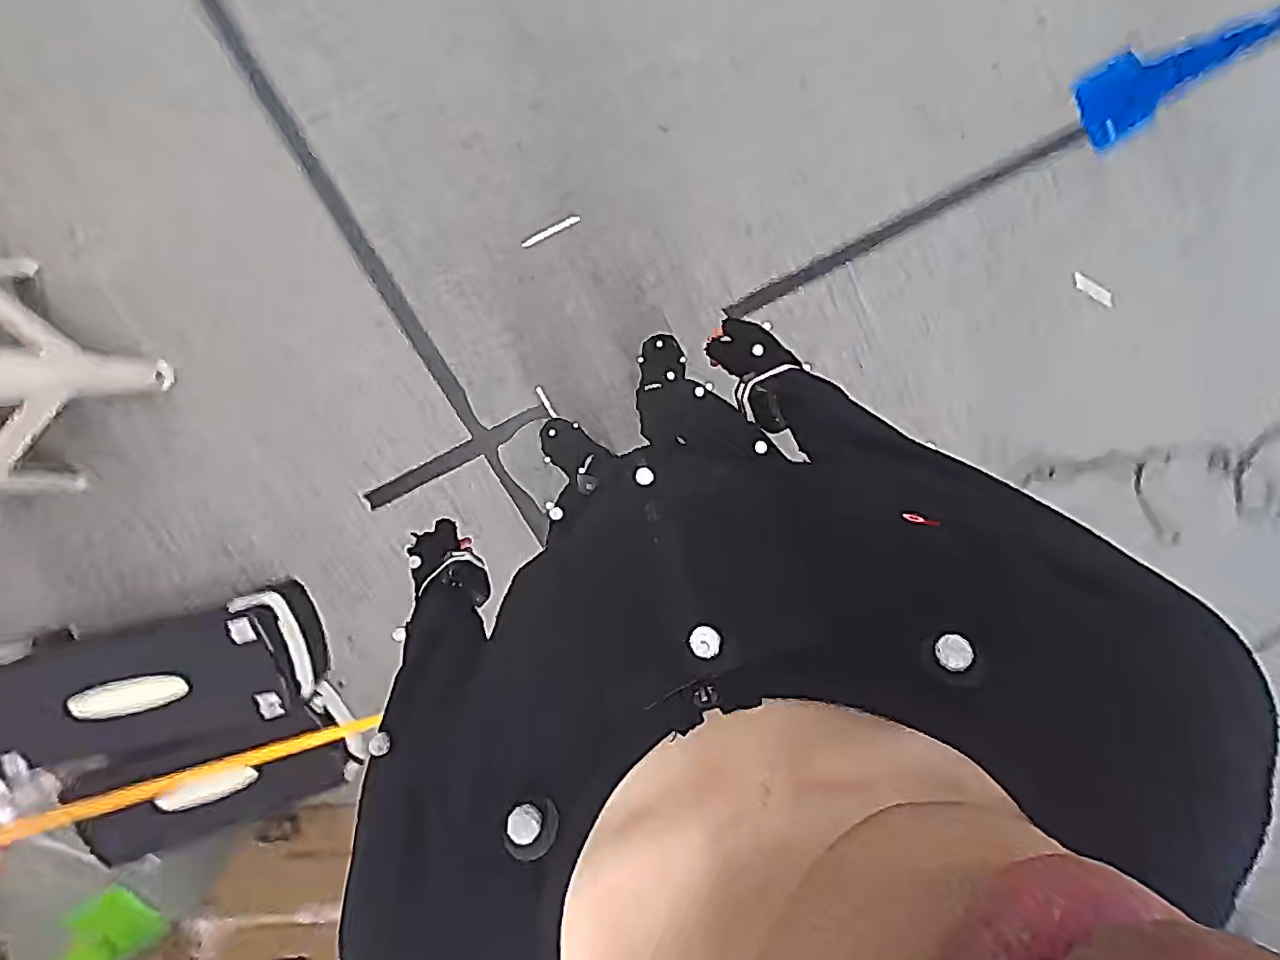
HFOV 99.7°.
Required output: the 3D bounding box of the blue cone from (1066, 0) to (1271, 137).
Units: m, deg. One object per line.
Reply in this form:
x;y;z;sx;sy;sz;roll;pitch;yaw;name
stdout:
1.278;-1.025;1.303;0.193;0.380;0.192;-33;102;-2;blue cone
